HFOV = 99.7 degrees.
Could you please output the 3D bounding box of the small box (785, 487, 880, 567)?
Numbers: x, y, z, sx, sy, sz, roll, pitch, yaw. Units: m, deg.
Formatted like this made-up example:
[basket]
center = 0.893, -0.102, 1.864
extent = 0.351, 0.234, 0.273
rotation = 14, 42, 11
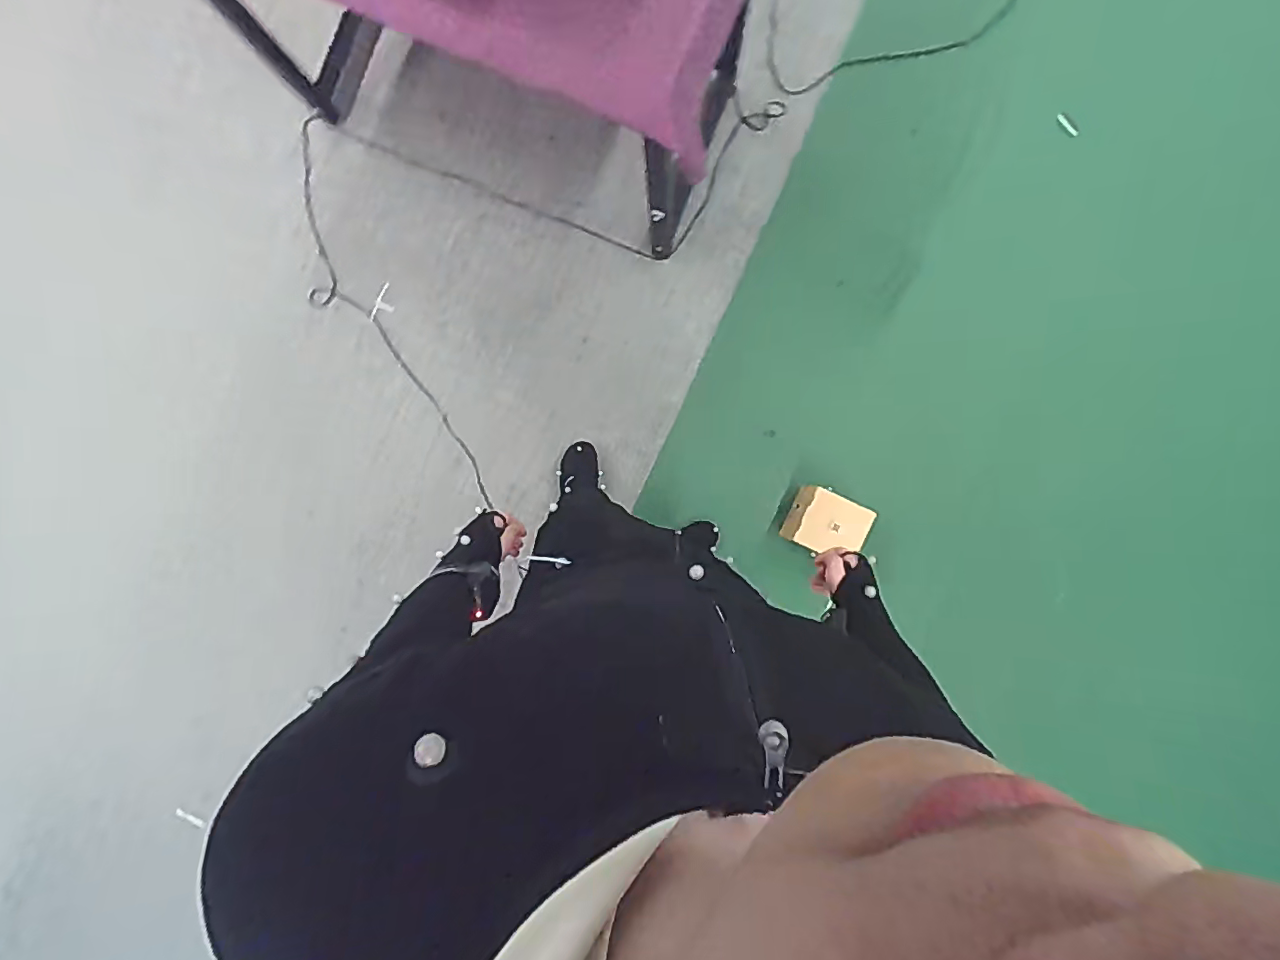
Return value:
[small box]
center = 0.537, 0.124, 1.535
extent = 0.179, 0.176, 0.168
rotation = 25, 91, 3
